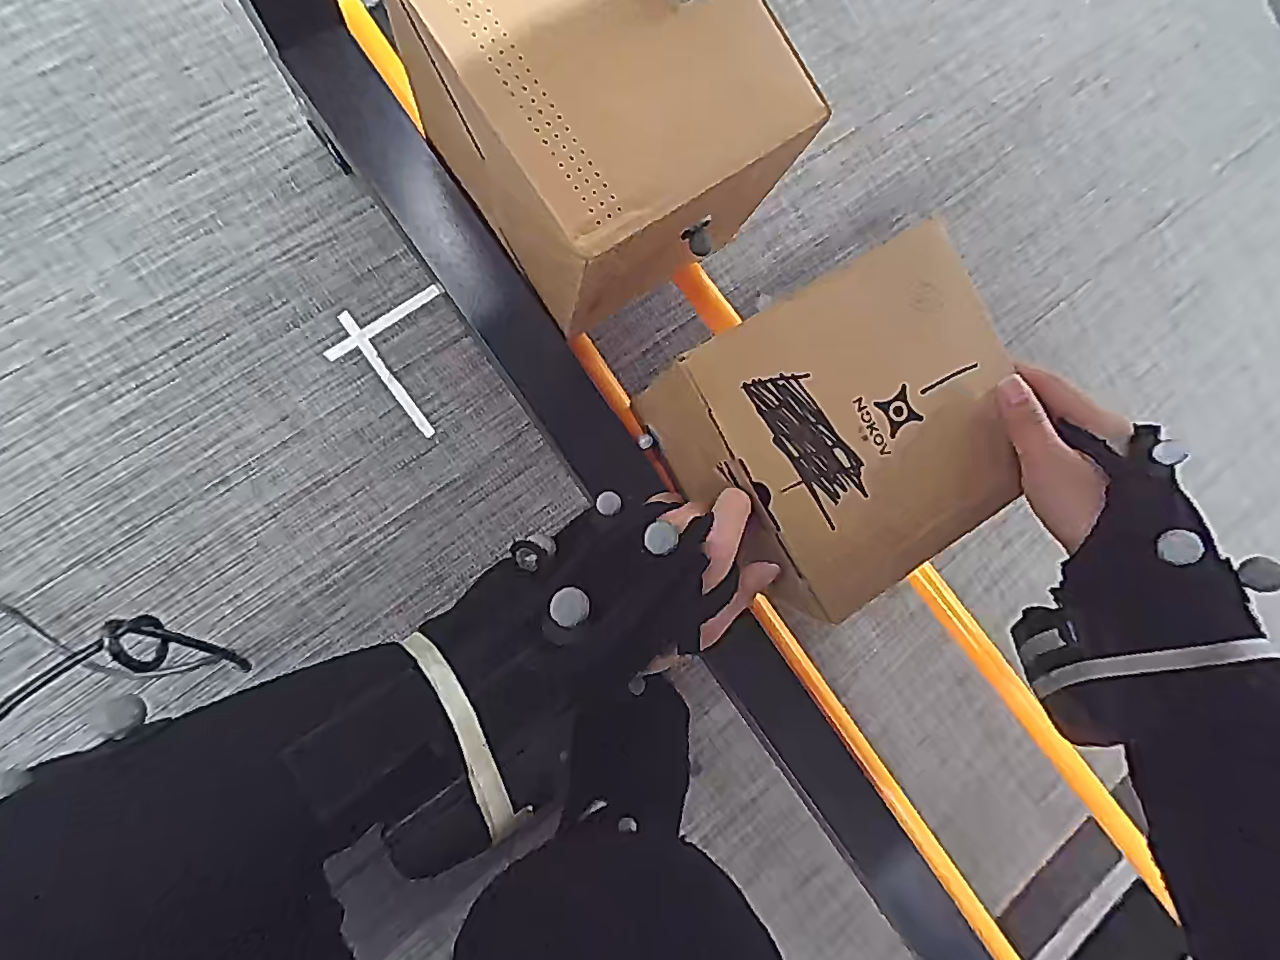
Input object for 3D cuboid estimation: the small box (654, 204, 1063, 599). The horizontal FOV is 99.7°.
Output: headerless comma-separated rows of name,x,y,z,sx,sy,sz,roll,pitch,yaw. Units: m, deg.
small box,0.123,-0.044,0.377,0.179,0.176,0.168,-30,95,-11
